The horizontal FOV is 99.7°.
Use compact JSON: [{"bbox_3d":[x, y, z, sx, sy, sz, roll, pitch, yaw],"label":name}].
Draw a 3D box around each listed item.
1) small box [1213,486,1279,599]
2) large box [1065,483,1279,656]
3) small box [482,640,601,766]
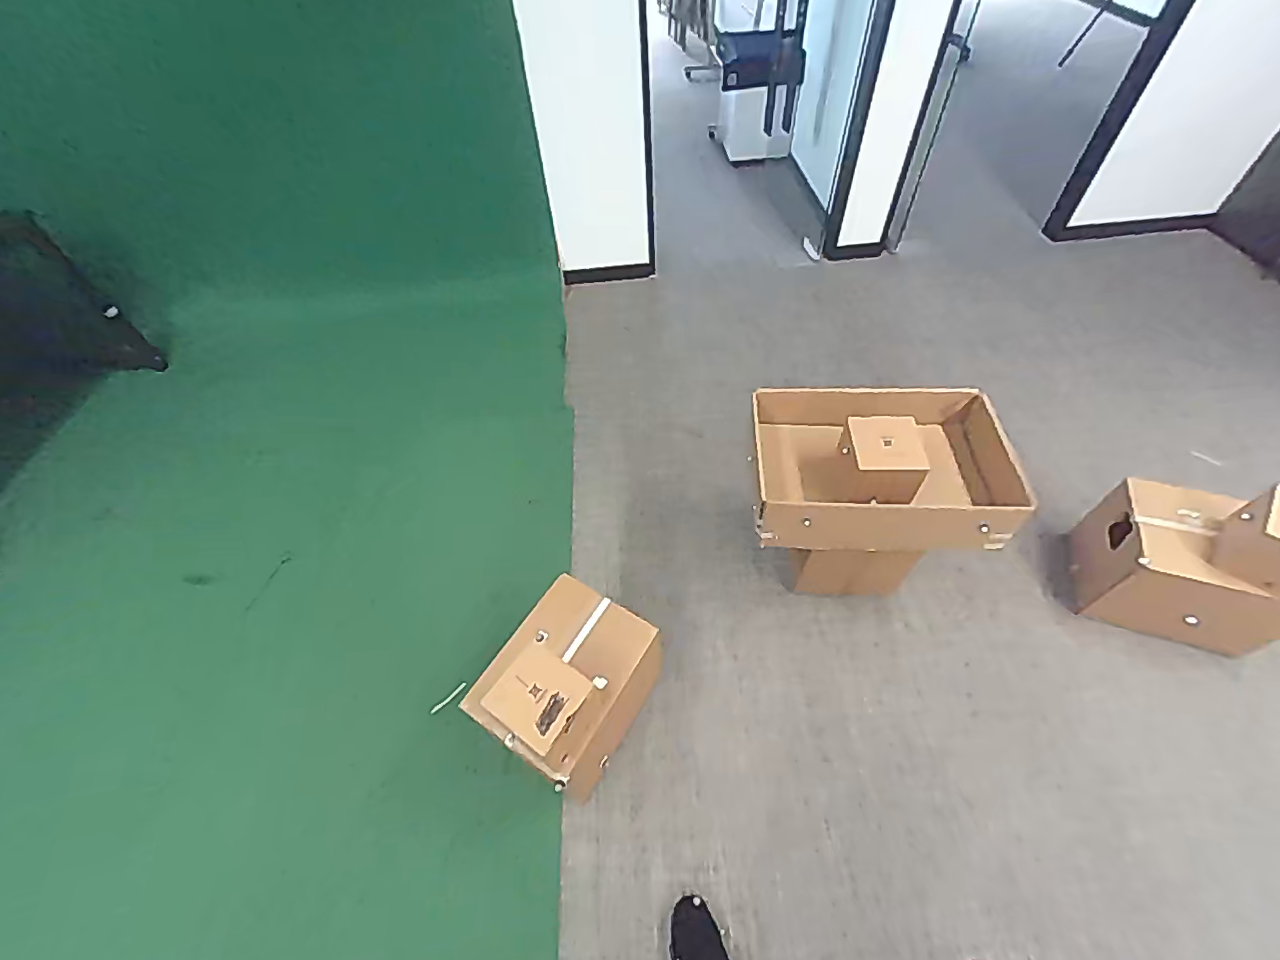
[{"bbox_3d":[1.553,0.154,1.305,0.168,0.176,0.179,32,61,25],"label":"small box"},{"bbox_3d":[1.532,0.256,1.539,0.408,0.320,0.320,14,53,15],"label":"large box"},{"bbox_3d":[-0.200,0.481,1.152,0.179,0.176,0.168,28,57,23],"label":"small box"}]
